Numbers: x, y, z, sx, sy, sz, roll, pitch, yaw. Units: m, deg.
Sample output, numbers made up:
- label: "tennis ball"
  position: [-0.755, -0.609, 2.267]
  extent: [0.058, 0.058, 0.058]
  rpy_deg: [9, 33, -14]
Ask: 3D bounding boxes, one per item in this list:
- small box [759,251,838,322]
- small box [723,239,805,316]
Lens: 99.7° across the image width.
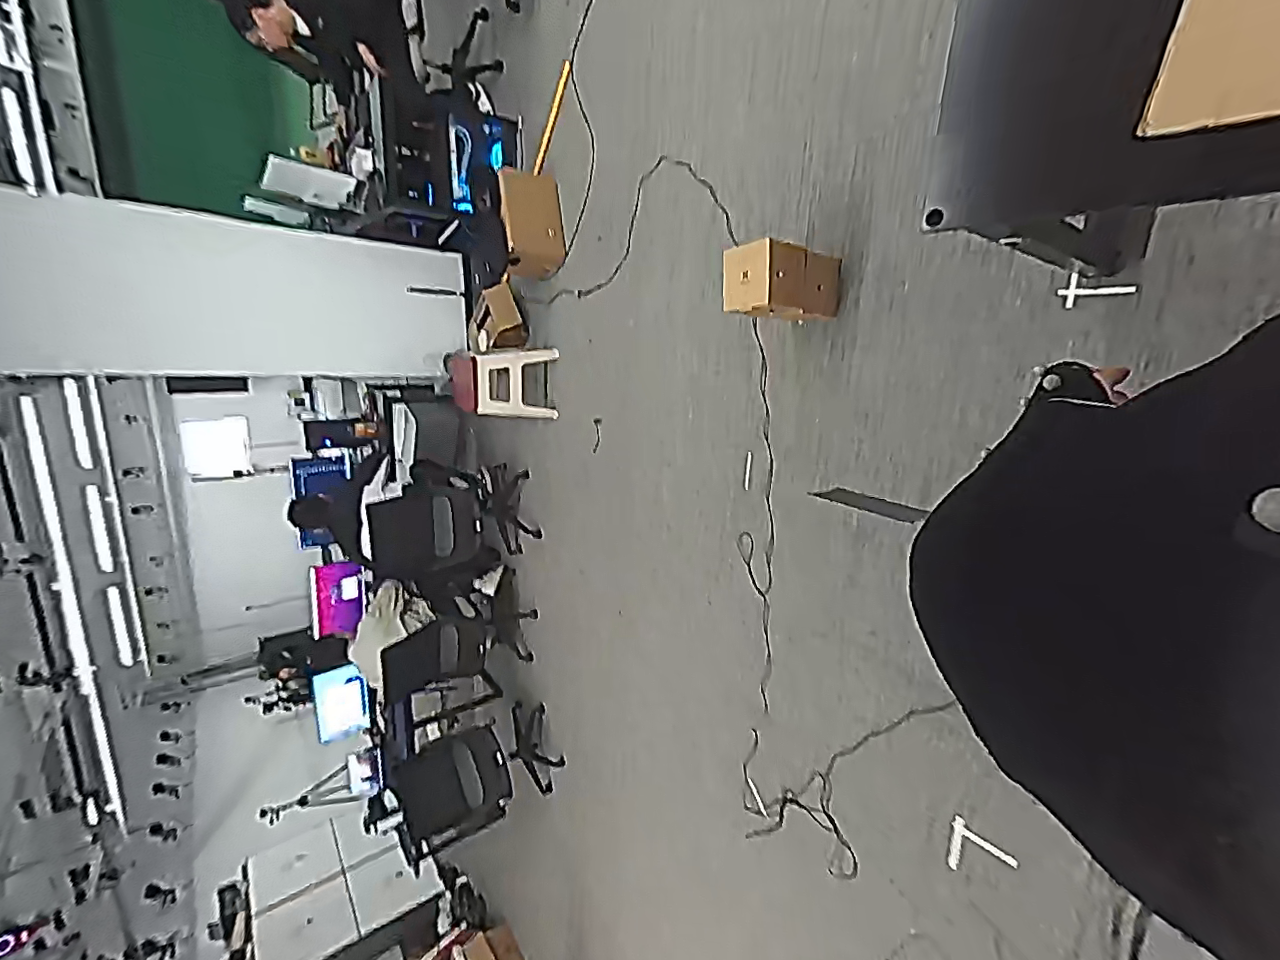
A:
- label: "small box"
  position: [0.485, -0.583, 1.650]
  extent: [0.168, 0.176, 0.179]
  rpy_deg: [14, 108, 50]
- label: "small box"
  position: [0.357, -0.571, 1.551]
  extent: [0.168, 0.176, 0.179]
  rpy_deg: [9, 102, 50]
